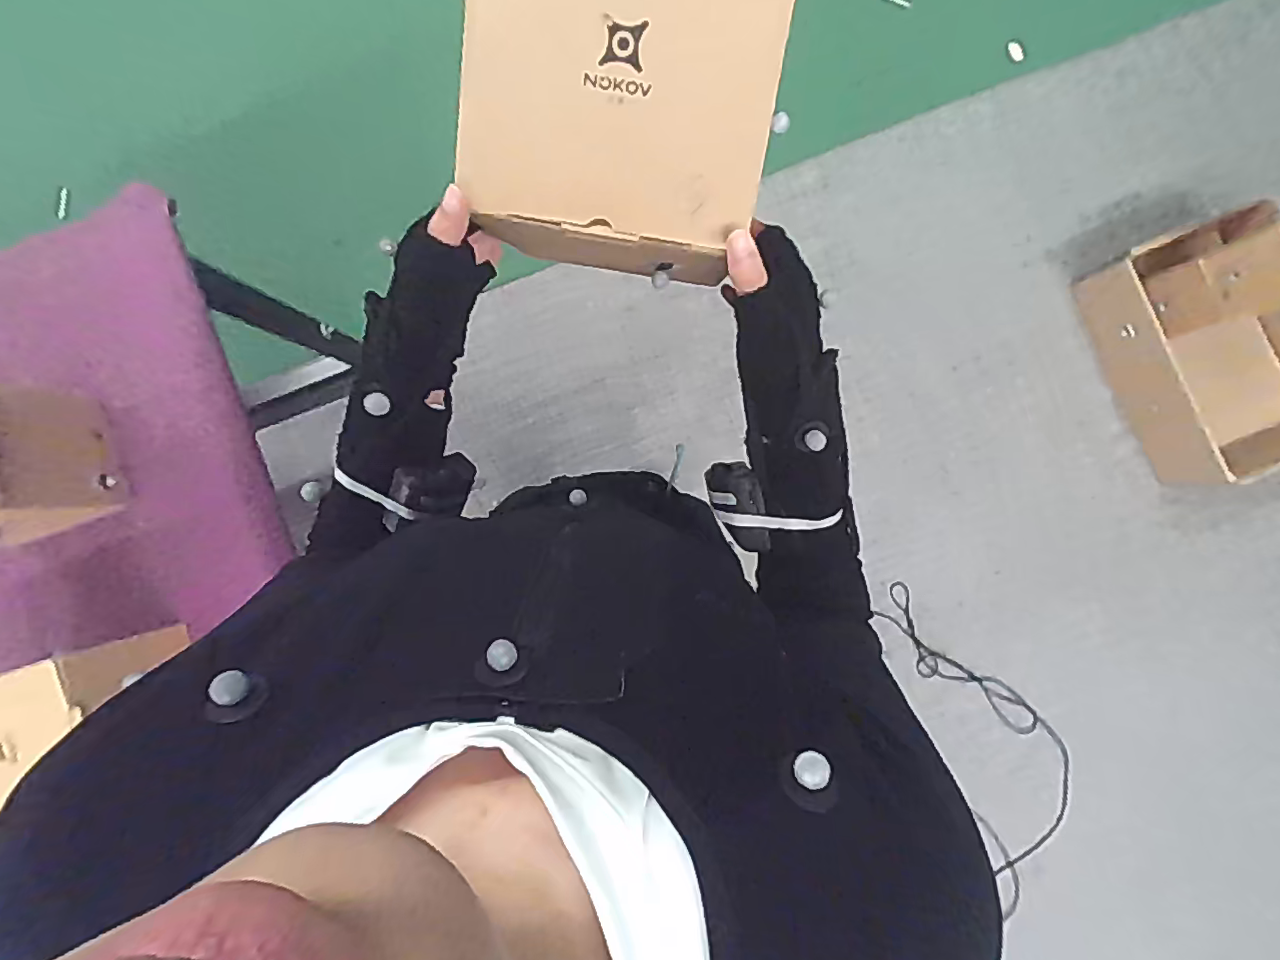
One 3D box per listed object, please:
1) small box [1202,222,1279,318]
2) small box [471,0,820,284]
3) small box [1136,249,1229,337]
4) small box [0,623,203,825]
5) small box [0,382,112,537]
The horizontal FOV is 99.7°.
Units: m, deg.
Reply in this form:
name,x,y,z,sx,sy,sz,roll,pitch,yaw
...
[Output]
name,x,y,z,sx,sy,sz,roll,pitch,yaw
small box,1.410,-0.479,1.177,0.179,0.176,0.168,-23,90,-1
small box,0.005,-0.236,0.353,0.168,0.176,0.179,11,105,-1
small box,1.407,-0.478,1.340,0.179,0.176,0.168,-22,89,-1
small box,-0.700,0.295,0.678,0.179,0.176,0.168,-17,89,0
small box,-0.826,-0.022,0.680,0.179,0.176,0.168,-16,88,0
